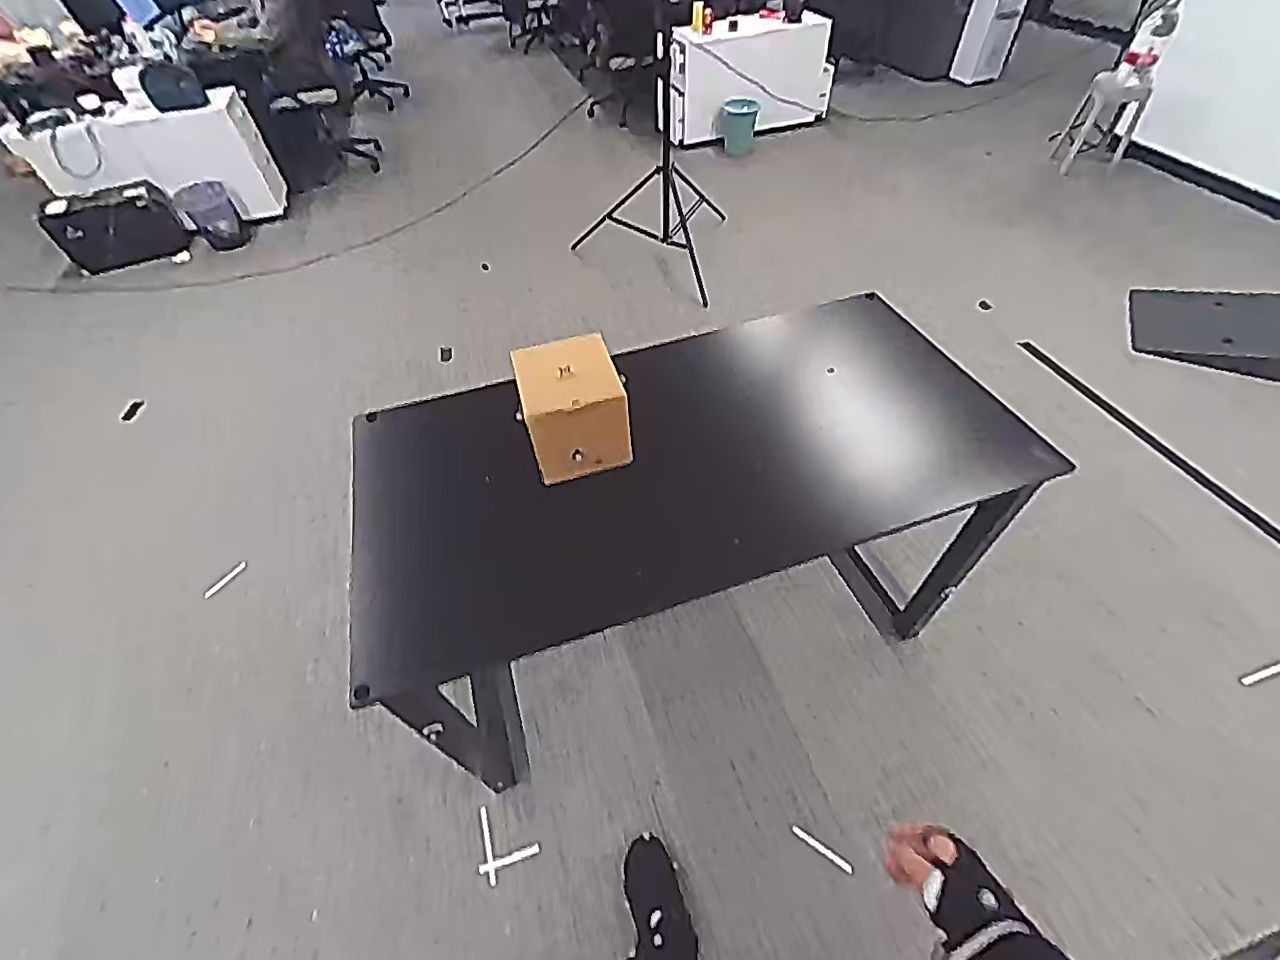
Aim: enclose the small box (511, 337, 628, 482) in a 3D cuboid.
[{"bbox_3d":[-0.124,-0.125,0.972,0.168,0.176,0.179,-15,51,-9],"label":"small box"}]
